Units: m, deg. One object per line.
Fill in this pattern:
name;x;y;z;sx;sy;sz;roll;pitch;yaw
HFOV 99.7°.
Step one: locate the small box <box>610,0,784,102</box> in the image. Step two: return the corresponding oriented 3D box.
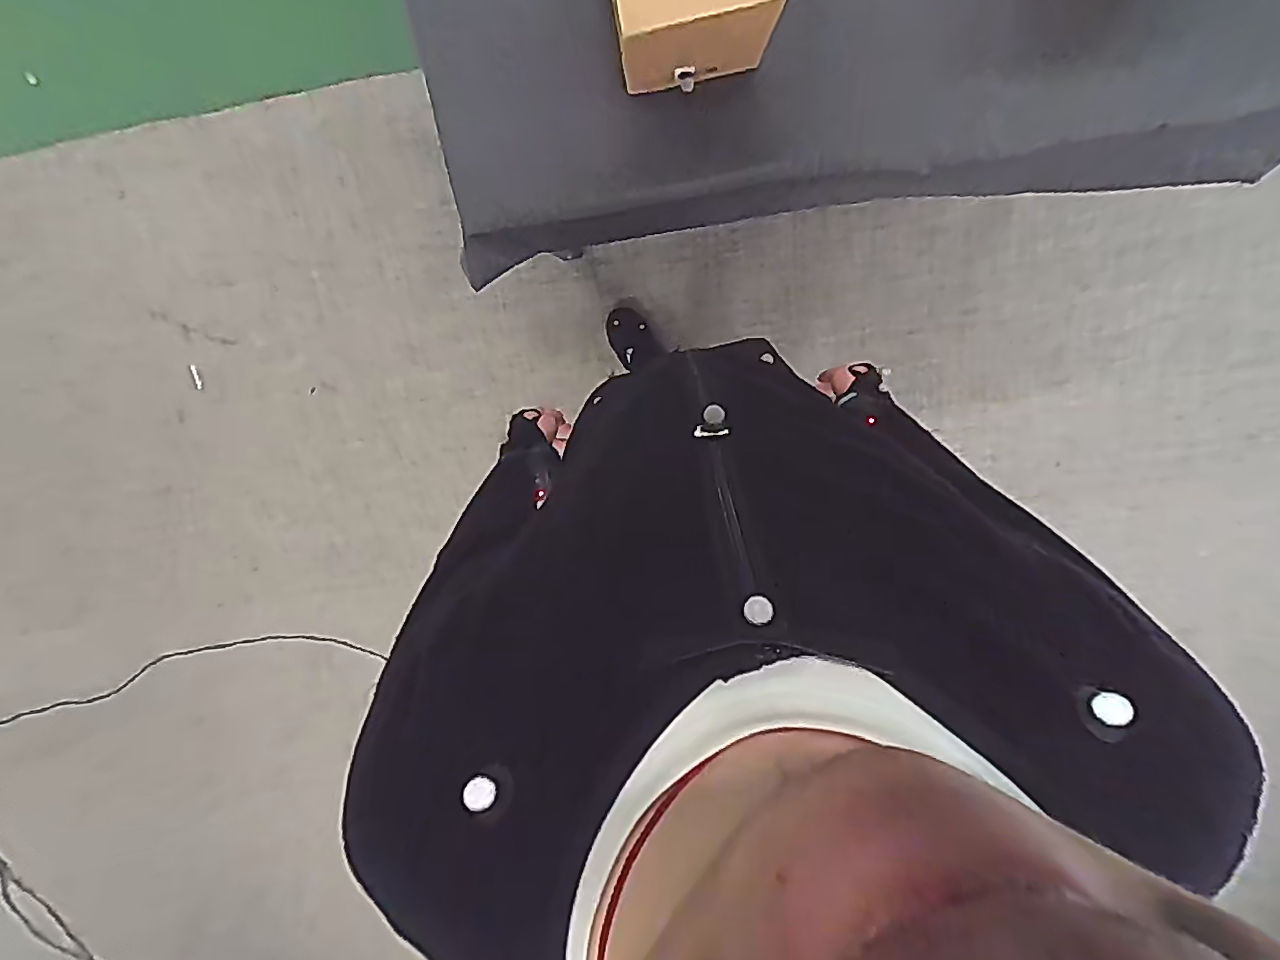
small box;0.048;-0.541;0.571;0.168;0.176;0.179;-8;107;6
